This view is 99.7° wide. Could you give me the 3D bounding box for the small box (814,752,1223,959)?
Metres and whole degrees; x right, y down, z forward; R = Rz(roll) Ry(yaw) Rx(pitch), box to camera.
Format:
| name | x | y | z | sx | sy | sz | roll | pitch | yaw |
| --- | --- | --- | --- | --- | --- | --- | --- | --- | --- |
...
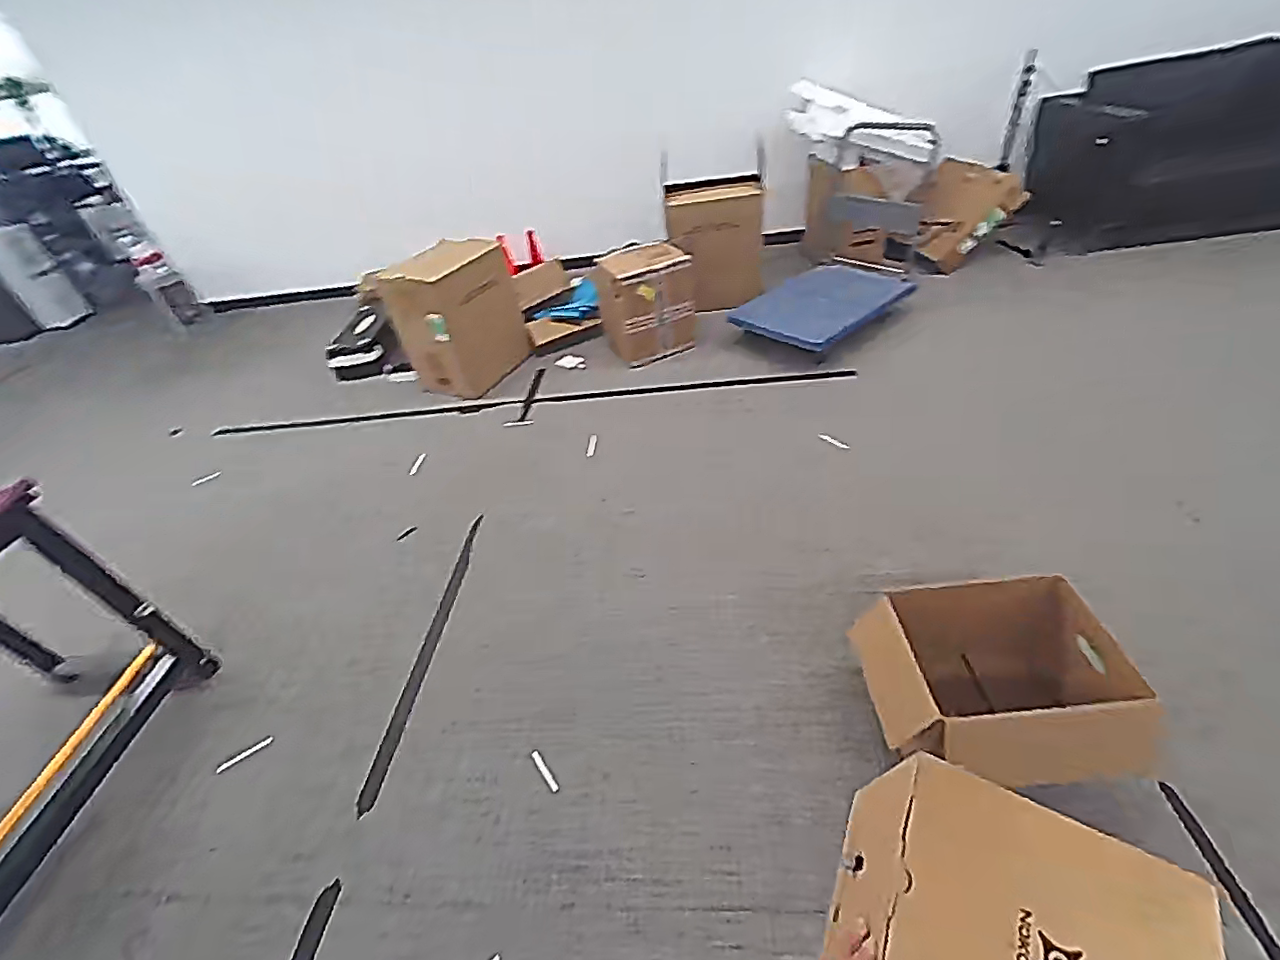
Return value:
| name | x | y | z | sx | sy | sz | roll | pitch | yaw |
| --- | --- | --- | --- | --- | --- | --- | --- | --- | --- |
| small box | 0.240 | 0.324 | 0.374 | 0.179 | 0.176 | 0.168 | 19 | 55 | 18 |
